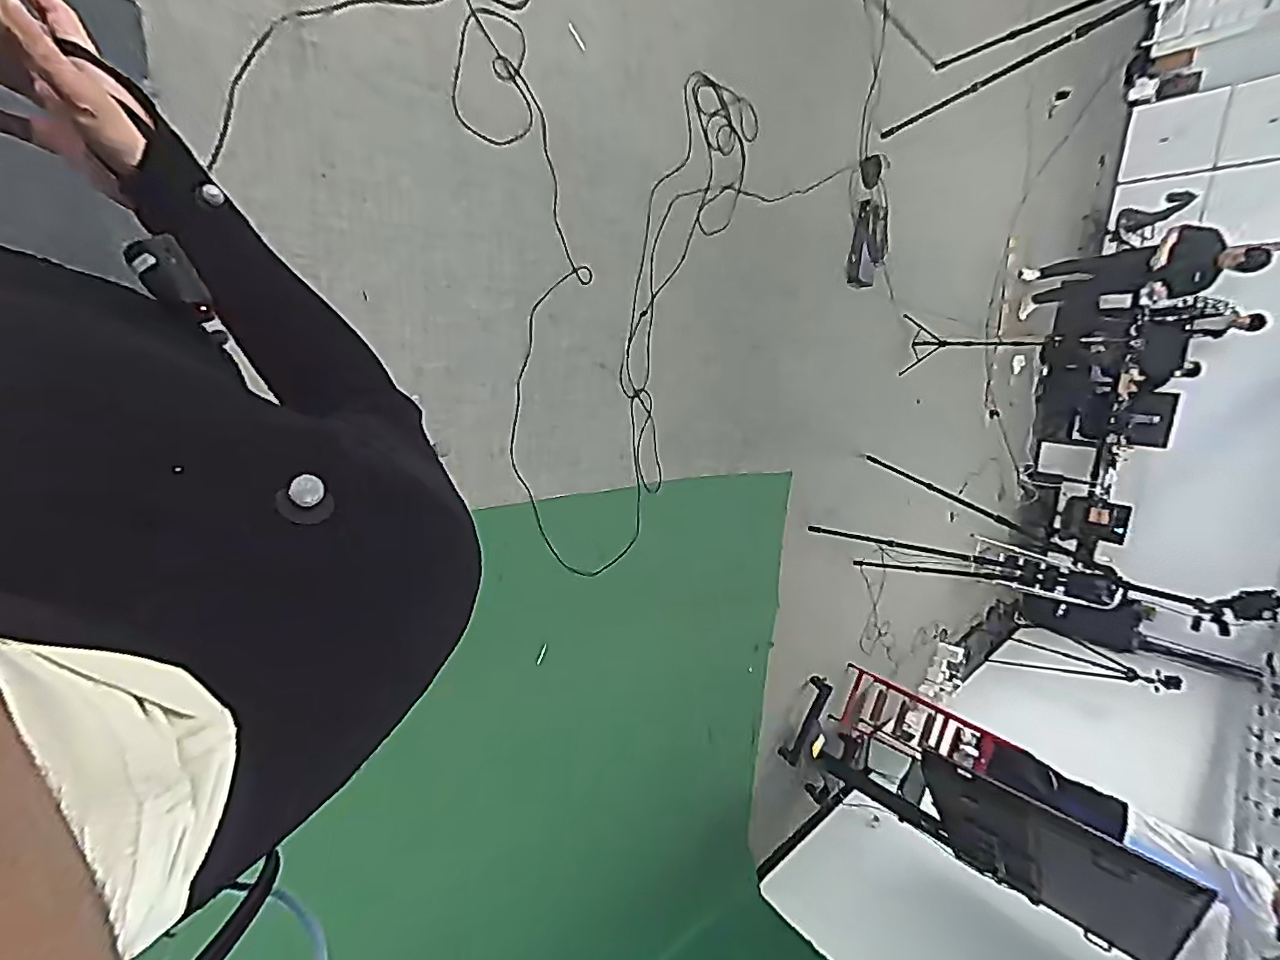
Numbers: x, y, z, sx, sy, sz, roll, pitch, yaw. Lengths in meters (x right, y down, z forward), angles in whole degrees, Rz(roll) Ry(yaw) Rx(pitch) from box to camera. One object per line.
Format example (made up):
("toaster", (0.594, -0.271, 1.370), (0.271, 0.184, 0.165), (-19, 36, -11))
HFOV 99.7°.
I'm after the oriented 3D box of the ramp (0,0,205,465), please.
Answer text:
("ramp", (-1.259, -0.532, 1.090), (0.509, 0.206, 0.991), (-10, 107, -39))
